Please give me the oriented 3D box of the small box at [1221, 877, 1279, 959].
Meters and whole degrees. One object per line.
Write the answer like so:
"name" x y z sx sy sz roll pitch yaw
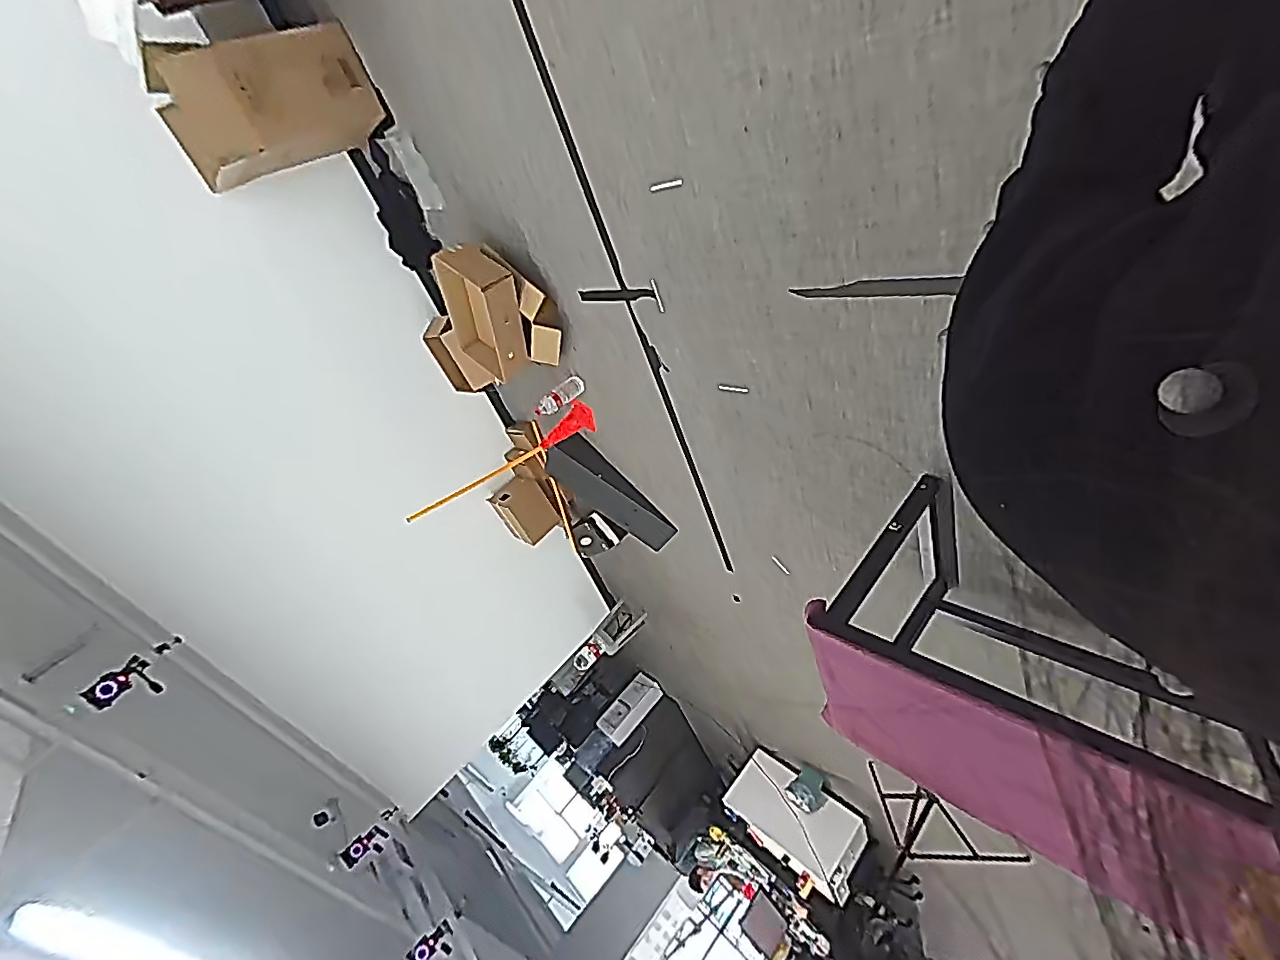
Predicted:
"small box" 1.116 0.810 0.901 0.179 0.176 0.168 16 141 48
